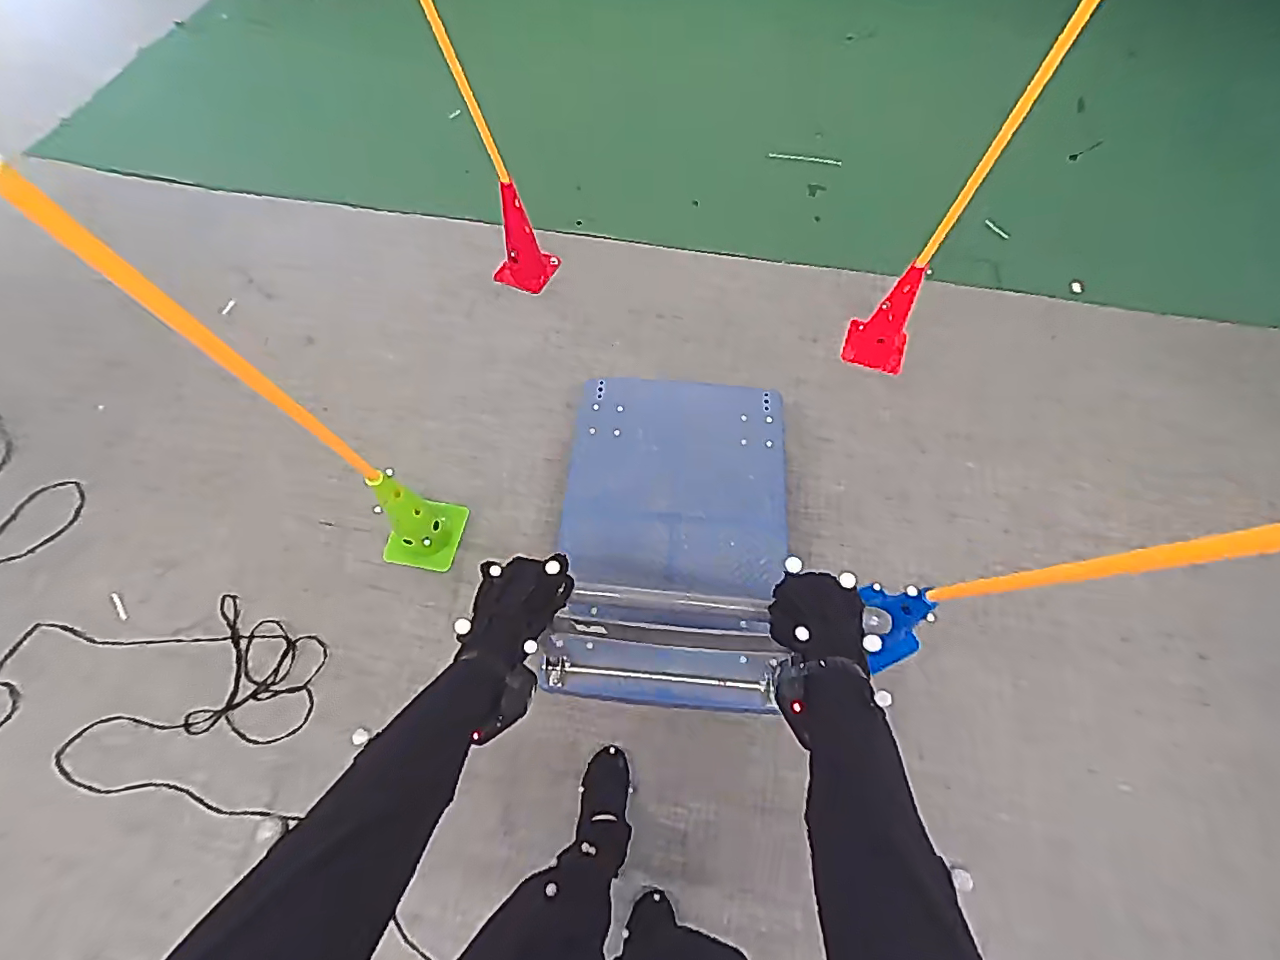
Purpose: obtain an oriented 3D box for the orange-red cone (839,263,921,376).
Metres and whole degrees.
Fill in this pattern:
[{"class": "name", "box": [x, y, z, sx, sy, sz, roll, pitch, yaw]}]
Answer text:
[{"class": "orange-red cone", "box": [0.798, -0.531, 1.715, 0.198, 0.360, 0.199, 20, 65, 11]}]
